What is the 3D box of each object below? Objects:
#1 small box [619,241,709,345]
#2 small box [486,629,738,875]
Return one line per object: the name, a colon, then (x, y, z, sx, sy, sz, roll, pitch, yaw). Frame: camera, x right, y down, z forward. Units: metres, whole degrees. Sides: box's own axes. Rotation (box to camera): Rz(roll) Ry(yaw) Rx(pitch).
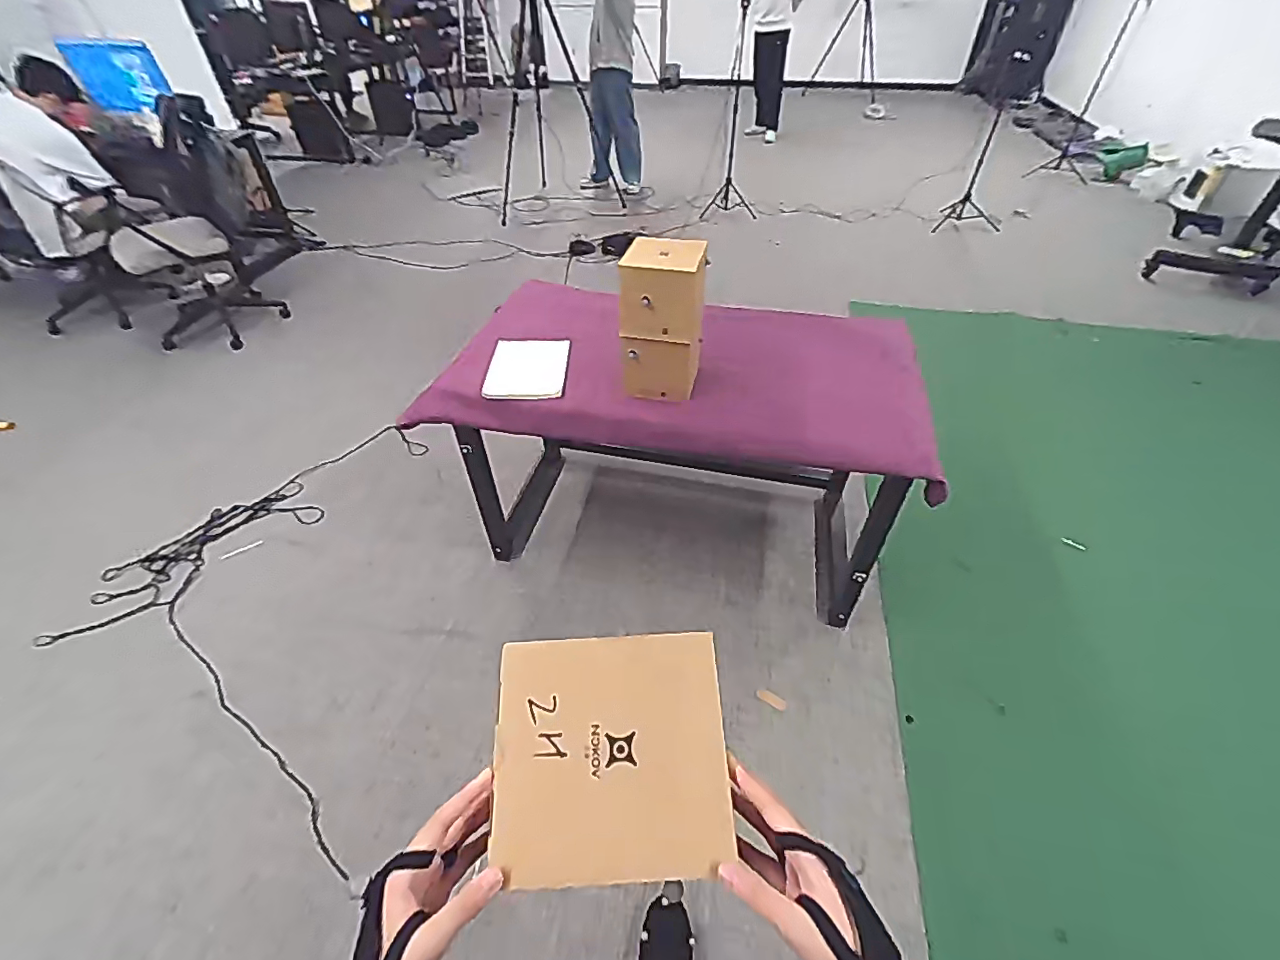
small box: (0.057, -0.420, 1.218, 0.168, 0.176, 0.179, 9, 43, 10)
small box: (-0.020, 0.234, 0.477, 0.179, 0.176, 0.168, -3, 60, 0)
